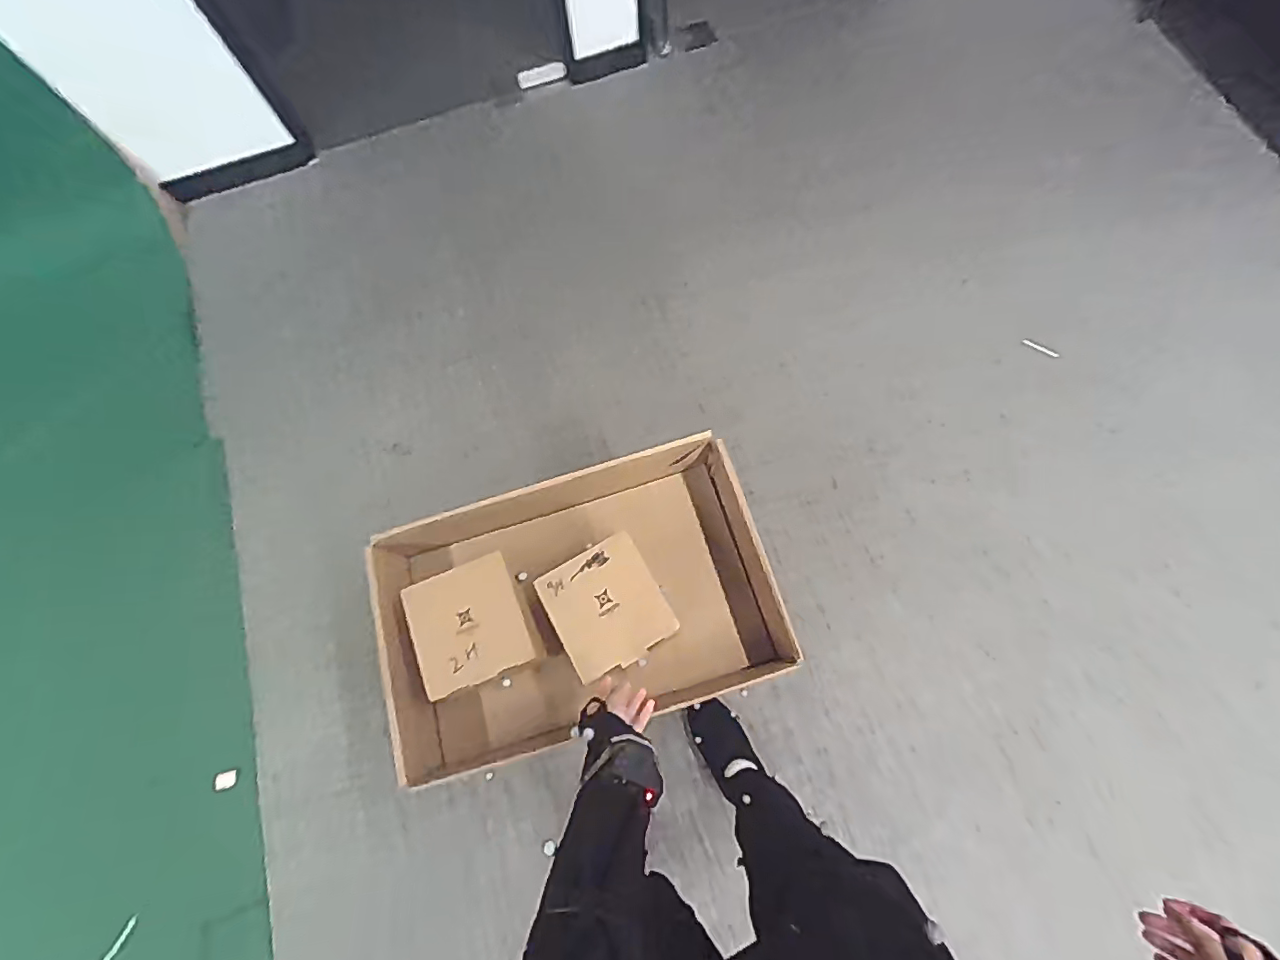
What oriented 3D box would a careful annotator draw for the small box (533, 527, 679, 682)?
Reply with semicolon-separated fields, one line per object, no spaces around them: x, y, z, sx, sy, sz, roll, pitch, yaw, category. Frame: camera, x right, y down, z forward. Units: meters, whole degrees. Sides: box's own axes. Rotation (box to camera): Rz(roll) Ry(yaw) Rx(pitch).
-0.048;0.201;0.875;0.168;0.176;0.179;-28;74;-6;small box

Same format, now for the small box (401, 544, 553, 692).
-0.256;0.225;0.877;0.168;0.176;0.179;-21;73;-3;small box
